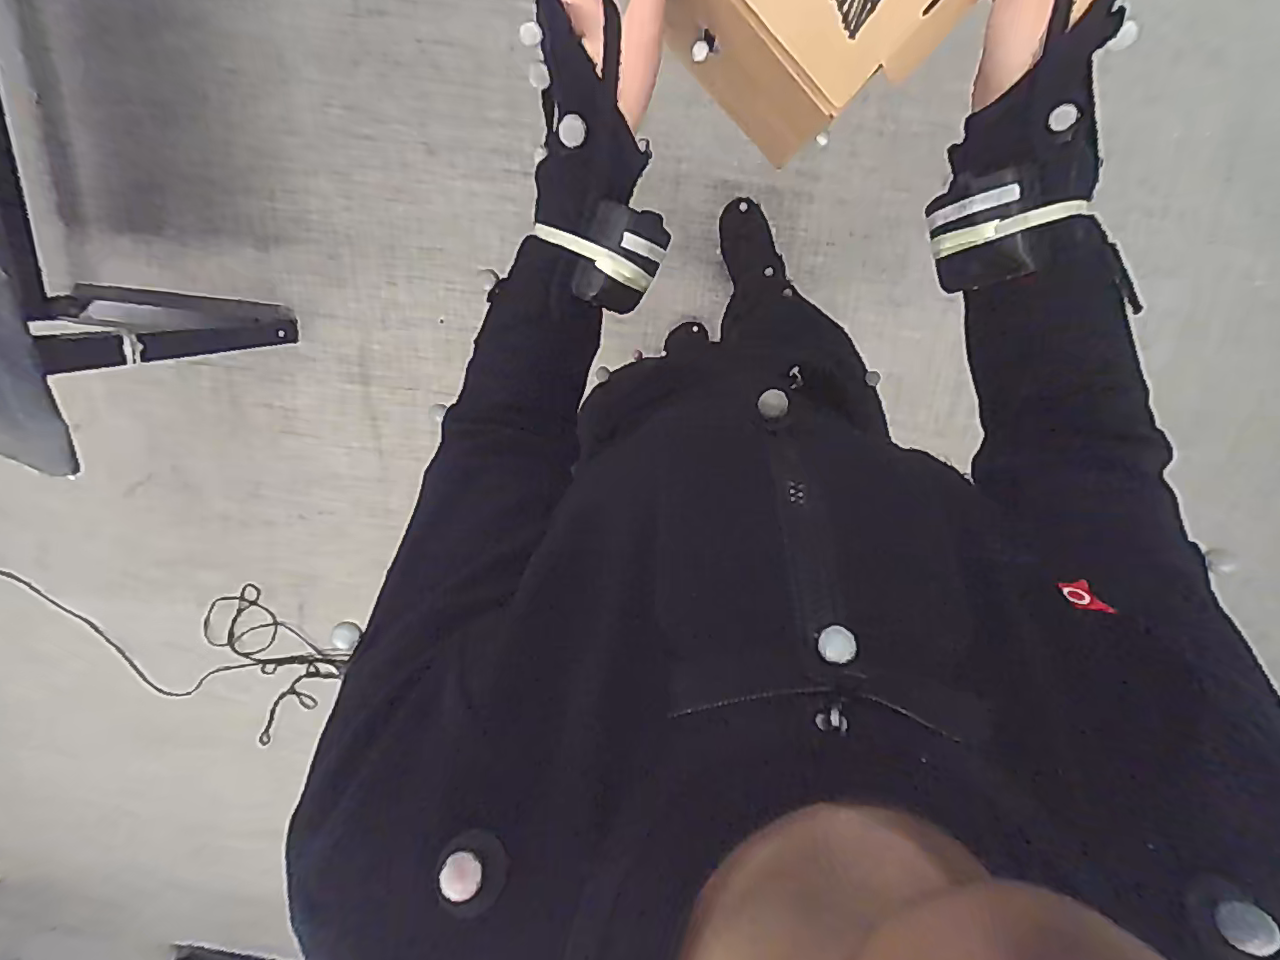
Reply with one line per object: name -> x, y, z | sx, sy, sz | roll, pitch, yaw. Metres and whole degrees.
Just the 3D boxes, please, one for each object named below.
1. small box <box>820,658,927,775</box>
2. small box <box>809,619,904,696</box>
small box -> 0.545, 0.559, 1.294 | 0.168, 0.176, 0.179 | 10, 108, 0
small box -> 0.567, 0.497, 1.444 | 0.168, 0.176, 0.179 | 10, 108, 0
